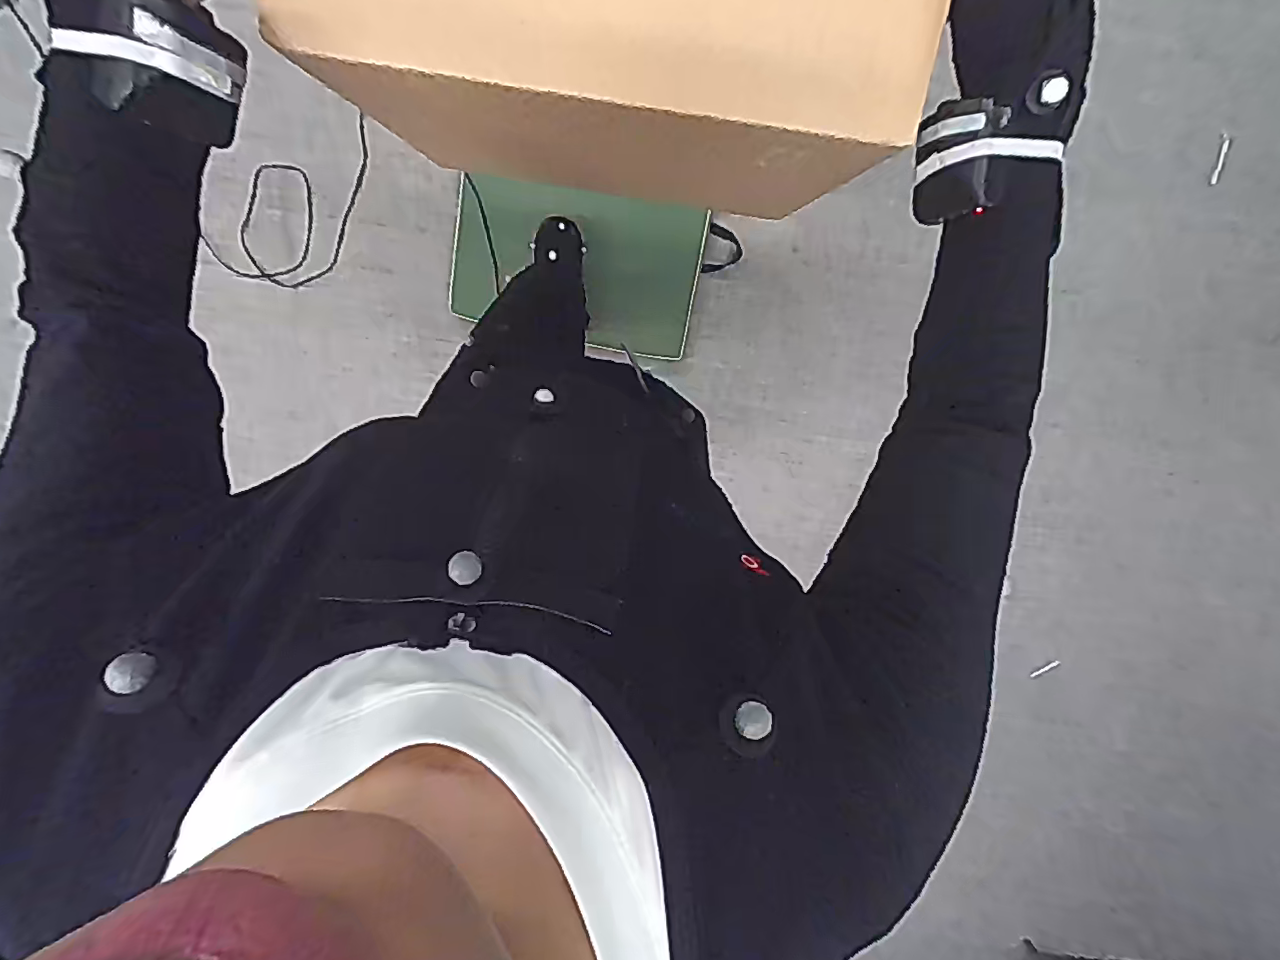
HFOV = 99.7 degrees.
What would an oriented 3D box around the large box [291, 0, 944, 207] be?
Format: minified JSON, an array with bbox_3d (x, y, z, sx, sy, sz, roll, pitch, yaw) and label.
[{"bbox_3d":[-0.005,-0.439,0.439,0.408,0.320,0.320,6,108,-5],"label":"large box"}]
